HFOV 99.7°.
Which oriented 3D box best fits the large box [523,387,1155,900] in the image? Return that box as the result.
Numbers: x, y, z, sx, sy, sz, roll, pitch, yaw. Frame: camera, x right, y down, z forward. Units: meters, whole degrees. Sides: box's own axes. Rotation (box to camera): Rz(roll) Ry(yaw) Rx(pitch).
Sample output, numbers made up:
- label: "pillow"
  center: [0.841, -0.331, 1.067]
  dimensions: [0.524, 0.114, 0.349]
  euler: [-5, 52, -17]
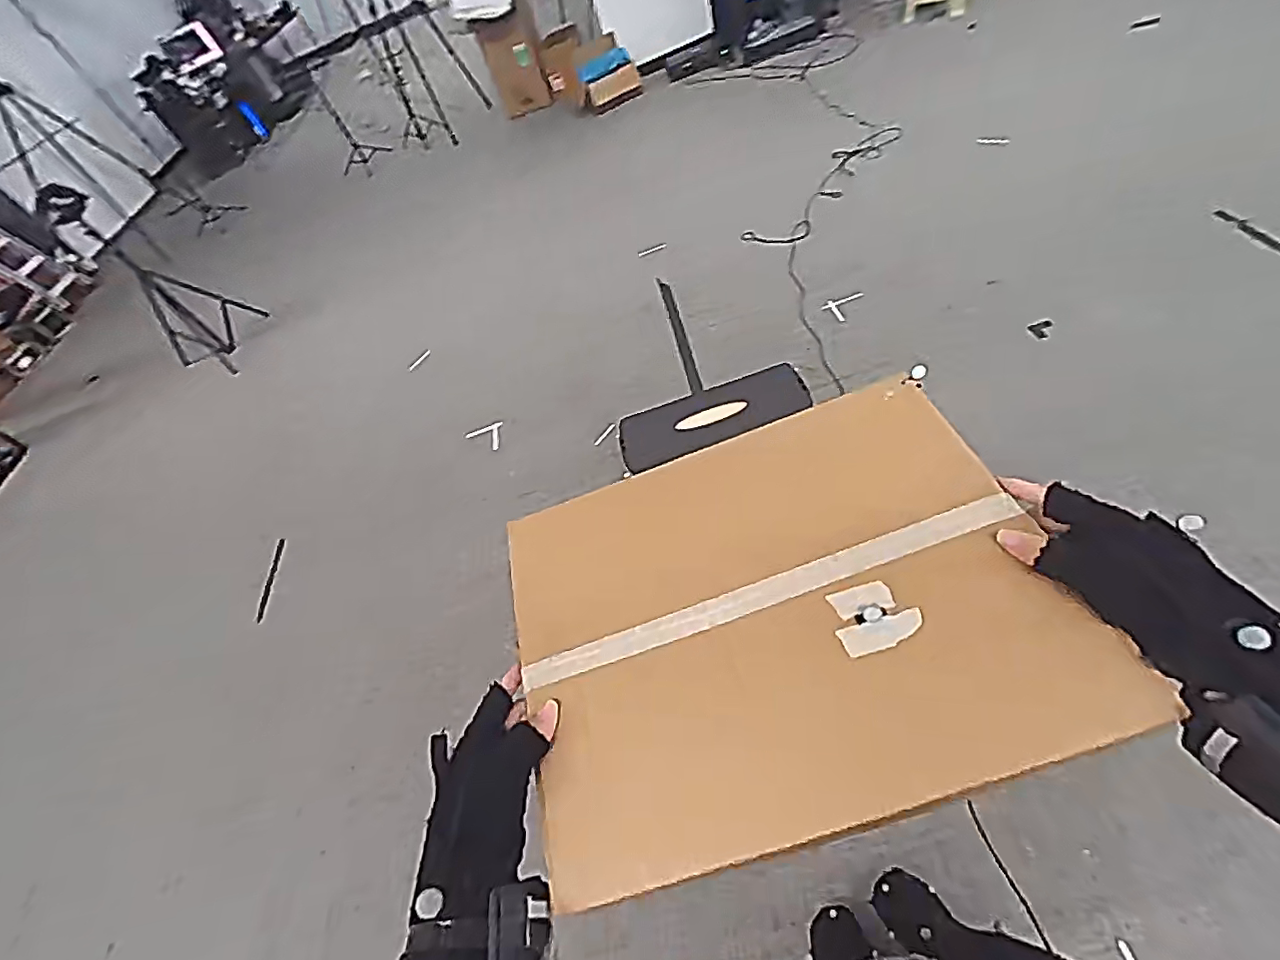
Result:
- label: "large box"
  center: [0.141, 0.177, 0.555]
  dimensions: [0.408, 0.320, 0.320]
  euler: [-21, 53, 4]
